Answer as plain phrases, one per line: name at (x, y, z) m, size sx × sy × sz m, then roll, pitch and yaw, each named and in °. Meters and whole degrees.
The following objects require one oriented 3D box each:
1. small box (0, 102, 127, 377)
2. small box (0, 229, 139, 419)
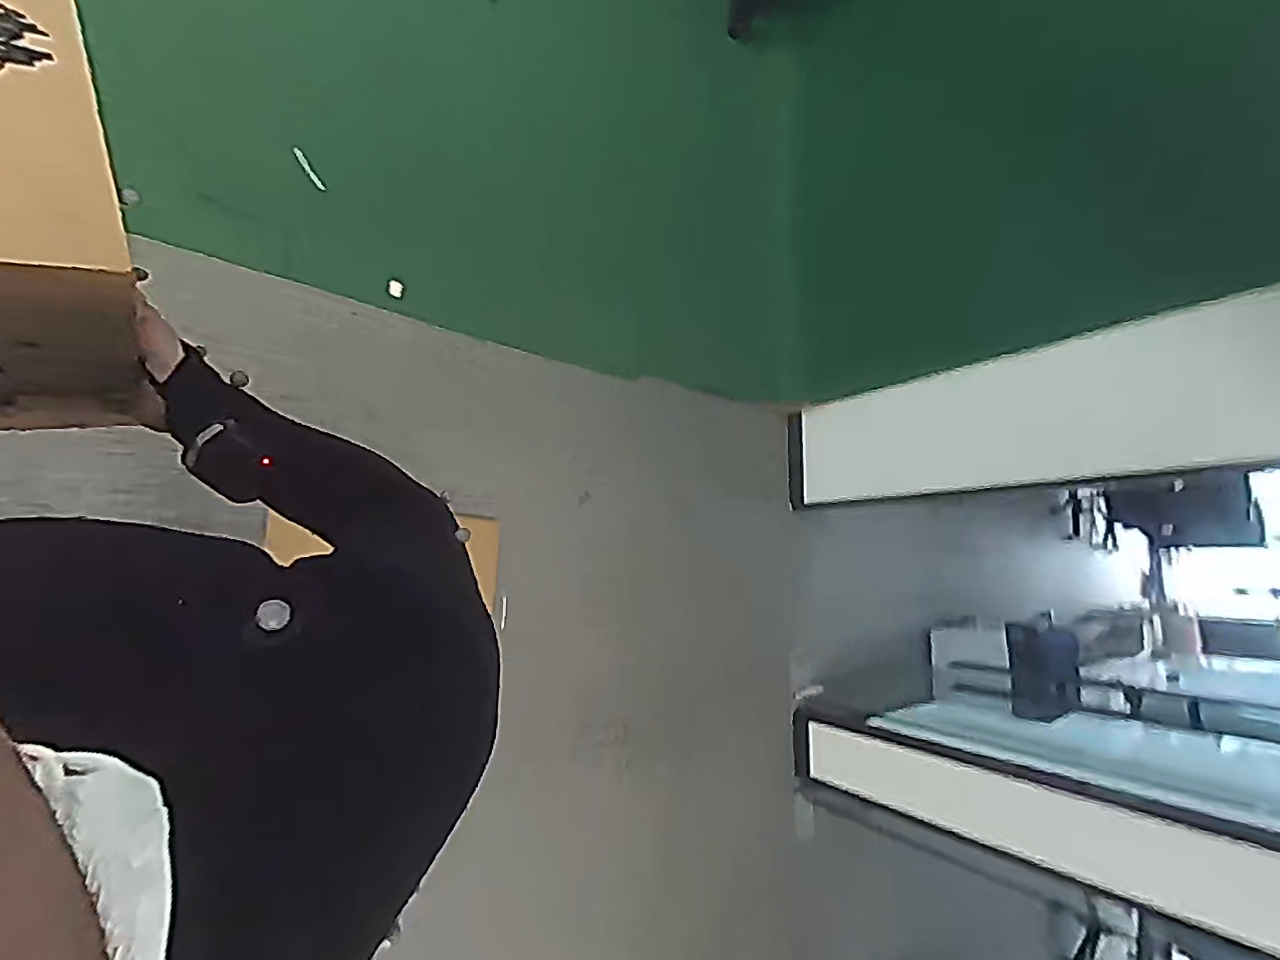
small box at (-0.546, -0.187, 0.444) m, size 0.168 × 0.176 × 0.179 m, roll -9°, pitch 90°, yaw -42°
small box at (-0.653, -0.167, 0.570) m, size 0.168 × 0.176 × 0.179 m, roll -10°, pitch 91°, yaw -41°
